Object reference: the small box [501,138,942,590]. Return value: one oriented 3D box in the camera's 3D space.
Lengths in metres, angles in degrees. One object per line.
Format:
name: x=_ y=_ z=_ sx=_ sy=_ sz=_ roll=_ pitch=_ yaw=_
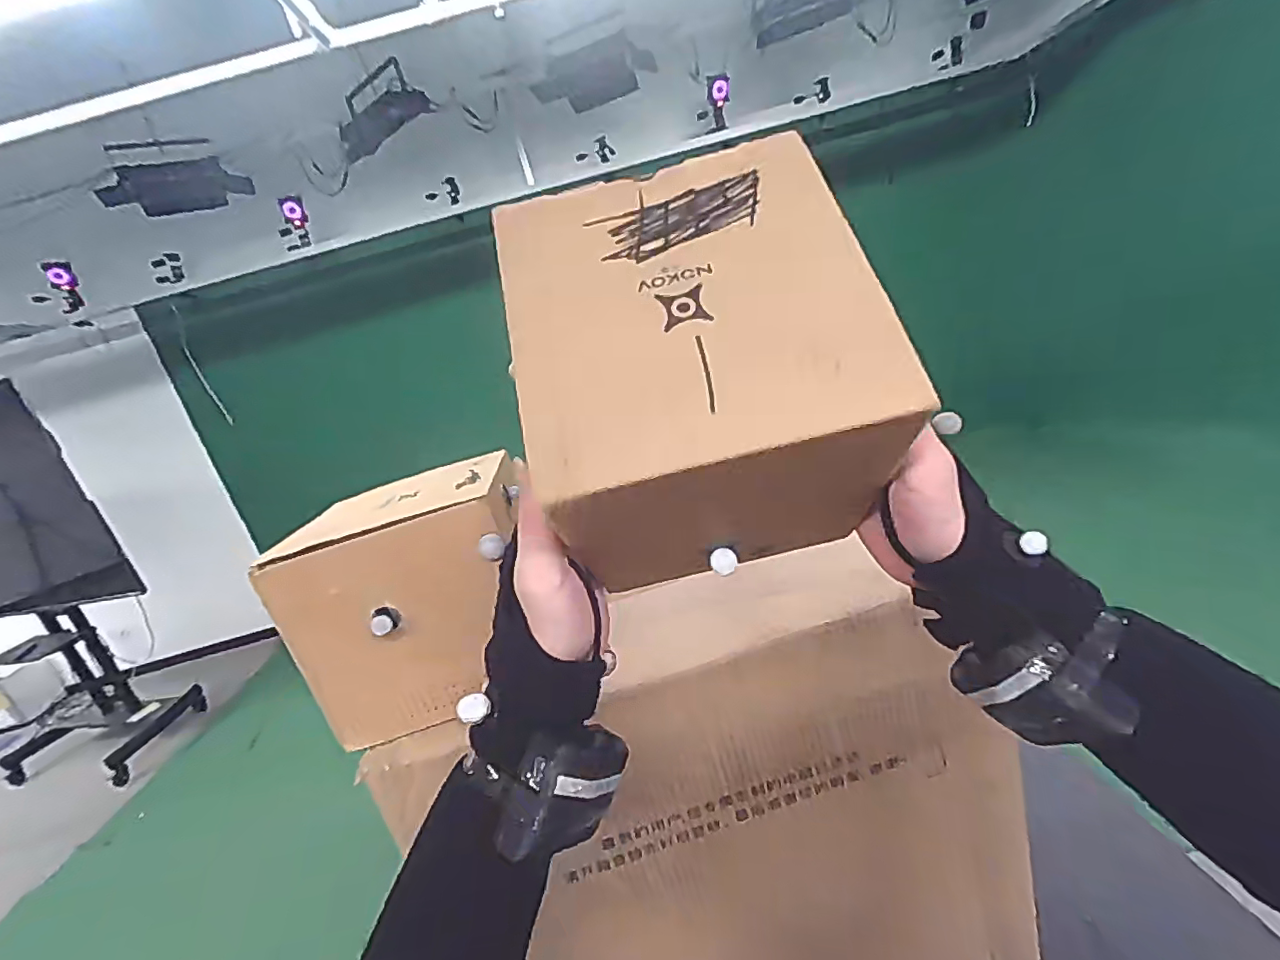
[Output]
small box: x=0.031 y=-0.050 z=0.317 sx=0.168 sy=0.179 sz=0.176 roll=-14 pitch=-23 yaw=2
